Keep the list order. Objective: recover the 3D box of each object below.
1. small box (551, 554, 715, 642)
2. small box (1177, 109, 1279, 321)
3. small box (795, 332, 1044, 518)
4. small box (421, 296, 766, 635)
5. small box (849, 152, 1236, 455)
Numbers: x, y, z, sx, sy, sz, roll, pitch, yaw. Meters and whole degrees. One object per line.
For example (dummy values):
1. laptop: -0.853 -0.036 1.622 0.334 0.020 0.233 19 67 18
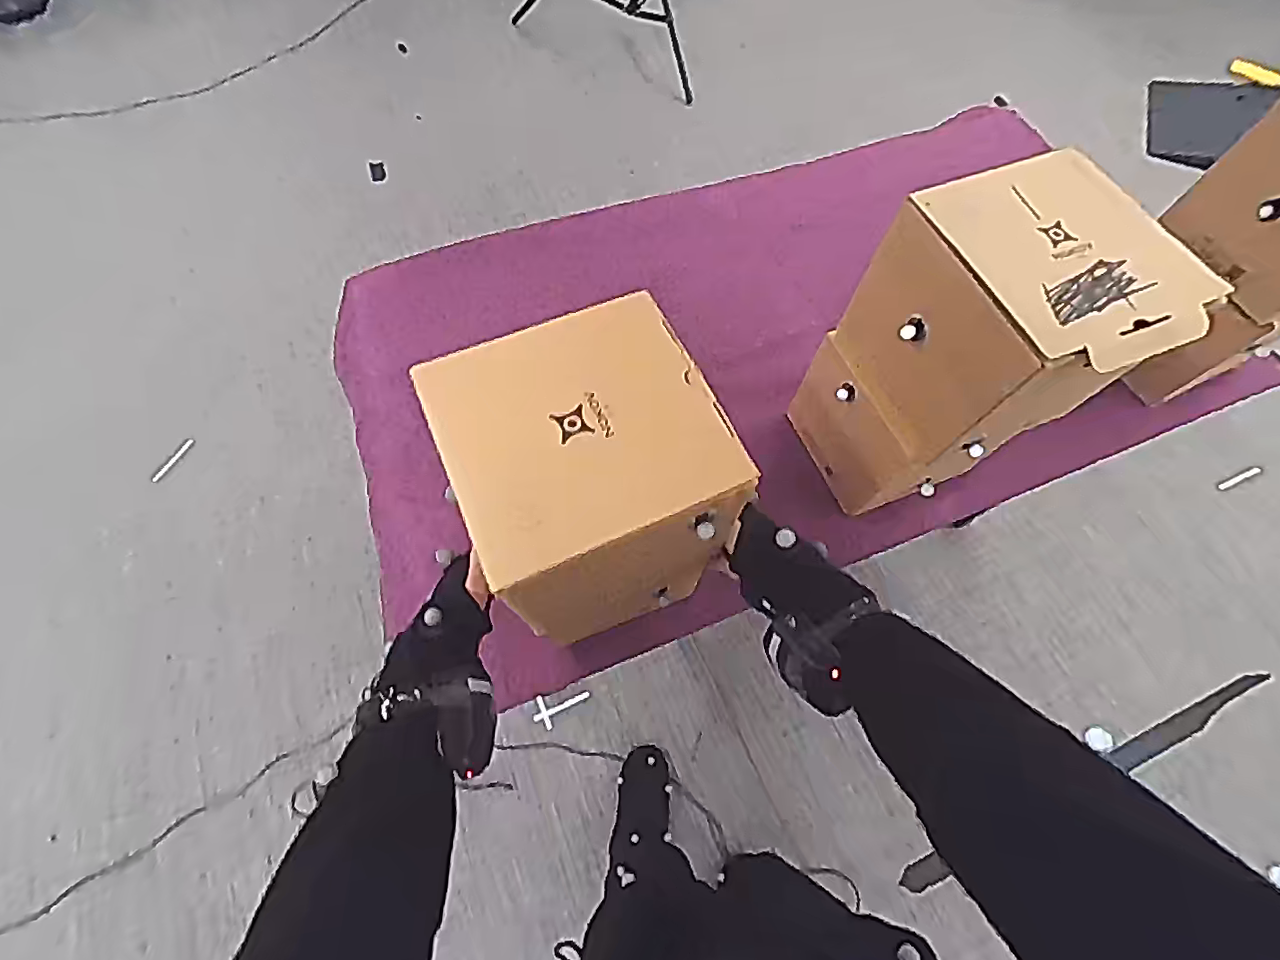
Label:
1. small box: -0.040 0.057 0.564 0.168 0.176 0.179 -20 67 -11
2. small box: 0.723 -0.291 0.552 0.179 0.176 0.168 -19 68 -9
3. small box: 0.312 -0.077 0.631 0.179 0.176 0.168 -20 68 -10
4. small box: -0.035 0.000 0.412 0.179 0.176 0.168 -23 69 -13
5. small box: 0.320 -0.139 0.478 0.168 0.176 0.179 -19 68 -9
